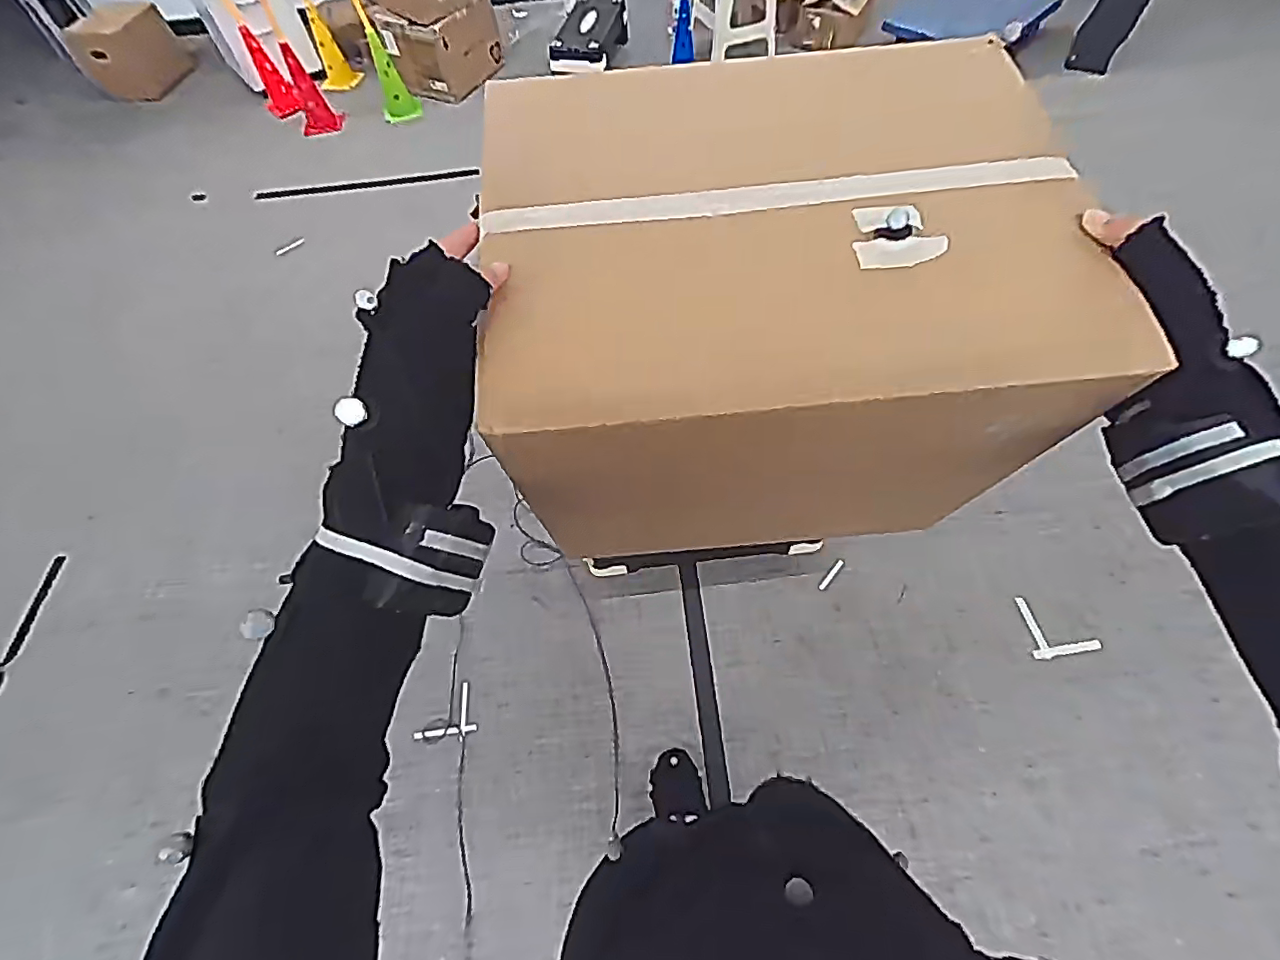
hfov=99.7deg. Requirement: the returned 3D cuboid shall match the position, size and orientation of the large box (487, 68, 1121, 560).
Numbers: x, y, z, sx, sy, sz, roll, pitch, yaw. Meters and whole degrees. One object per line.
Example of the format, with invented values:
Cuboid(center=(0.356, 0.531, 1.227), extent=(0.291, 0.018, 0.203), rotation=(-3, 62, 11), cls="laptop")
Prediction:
Cuboid(center=(0.091, -0.126, 0.526), extent=(0.408, 0.320, 0.320), rotation=(-6, 67, 0), cls="large box")
